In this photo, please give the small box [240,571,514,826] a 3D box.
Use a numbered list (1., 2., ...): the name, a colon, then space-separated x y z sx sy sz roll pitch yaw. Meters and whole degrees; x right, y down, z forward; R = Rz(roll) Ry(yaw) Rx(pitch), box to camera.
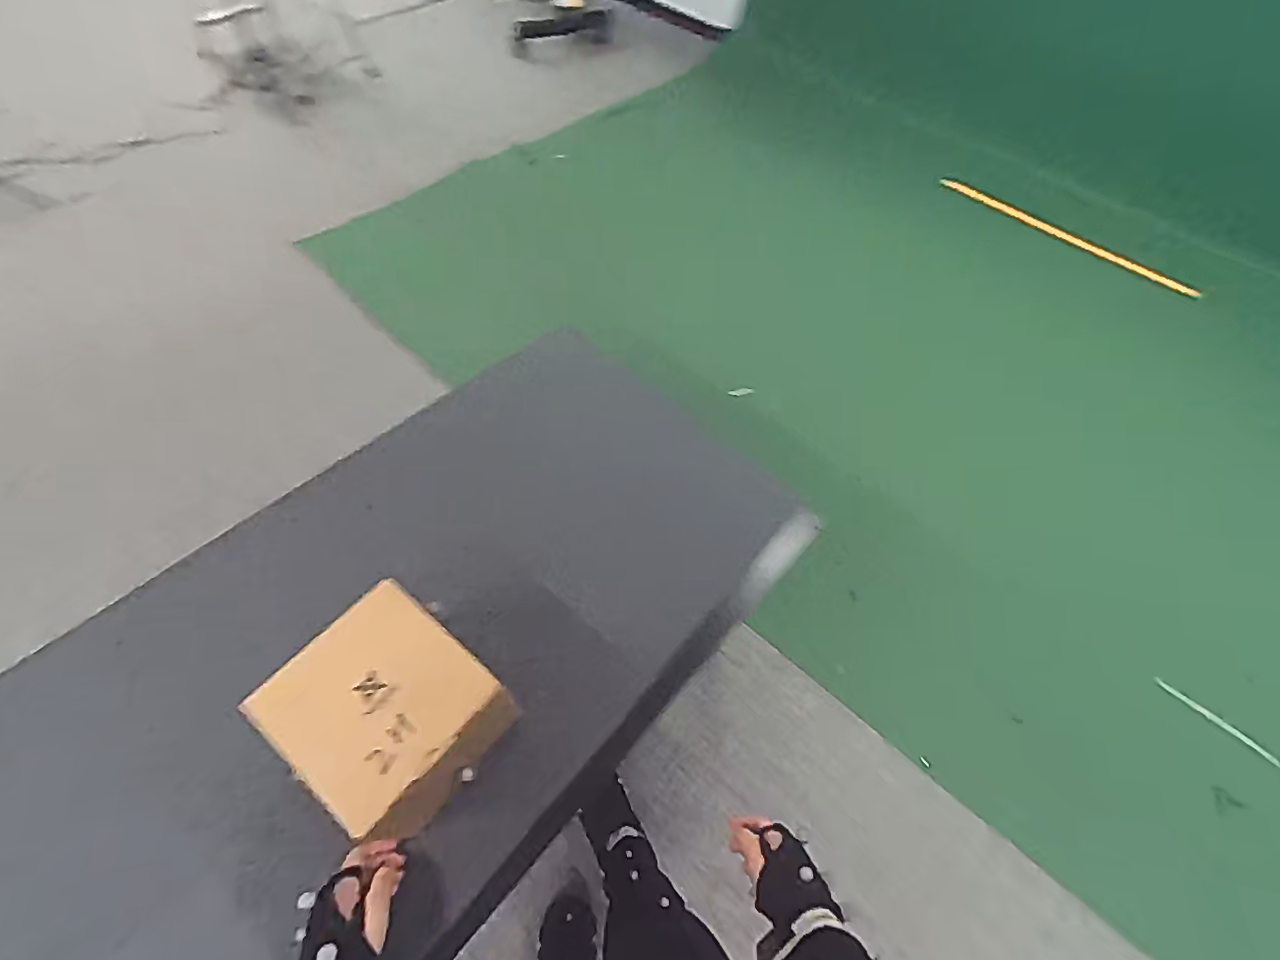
1. small box: -0.259 0.236 0.574 0.179 0.176 0.168 35 61 17
